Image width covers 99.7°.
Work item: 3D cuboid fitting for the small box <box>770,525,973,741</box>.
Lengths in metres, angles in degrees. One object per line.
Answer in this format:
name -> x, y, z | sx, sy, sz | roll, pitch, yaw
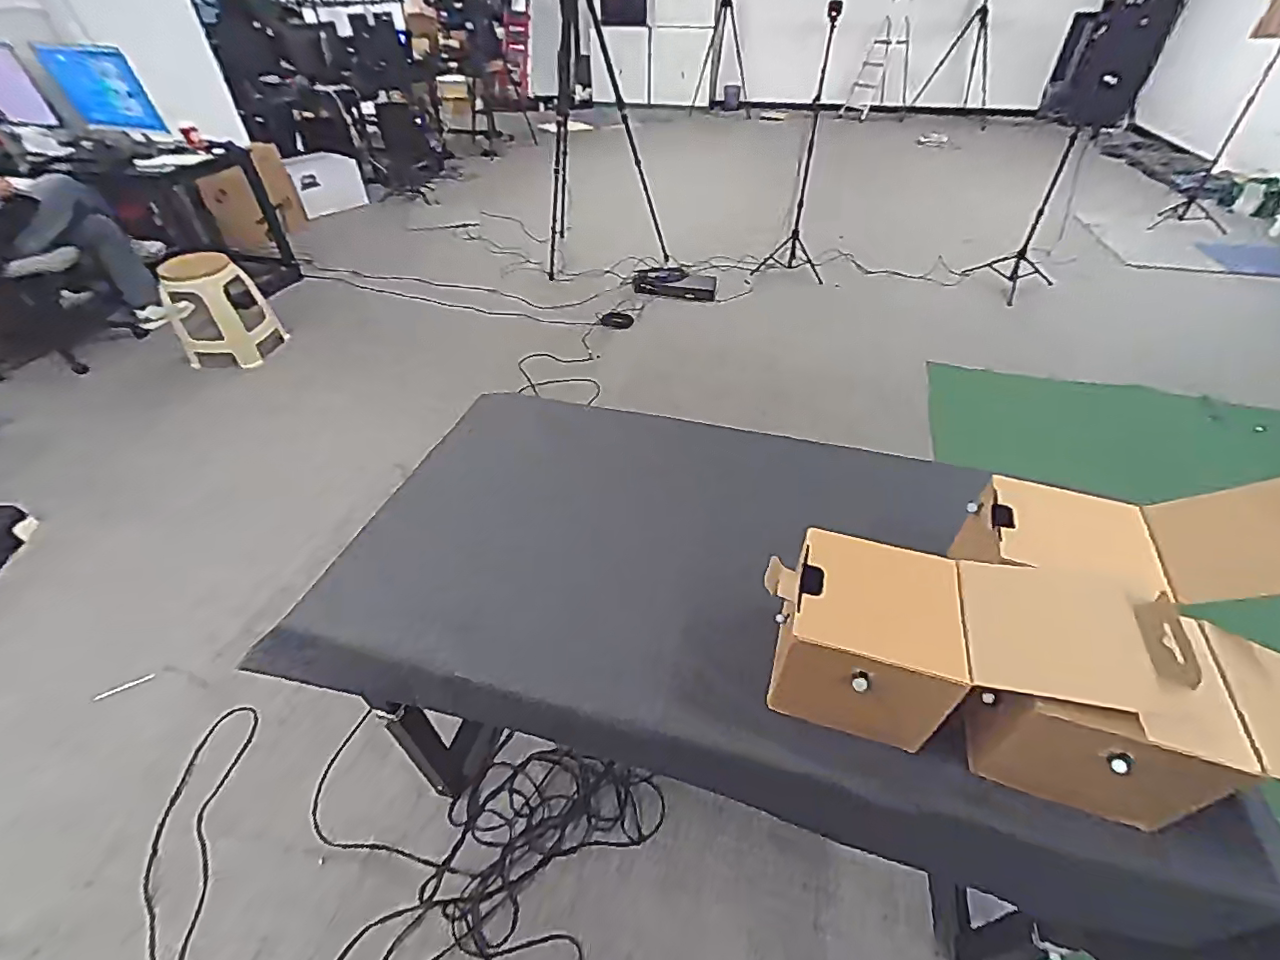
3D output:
small box -> 0.265, 0.184, 0.647 | 0.179, 0.176, 0.168 | 12, 44, 15
